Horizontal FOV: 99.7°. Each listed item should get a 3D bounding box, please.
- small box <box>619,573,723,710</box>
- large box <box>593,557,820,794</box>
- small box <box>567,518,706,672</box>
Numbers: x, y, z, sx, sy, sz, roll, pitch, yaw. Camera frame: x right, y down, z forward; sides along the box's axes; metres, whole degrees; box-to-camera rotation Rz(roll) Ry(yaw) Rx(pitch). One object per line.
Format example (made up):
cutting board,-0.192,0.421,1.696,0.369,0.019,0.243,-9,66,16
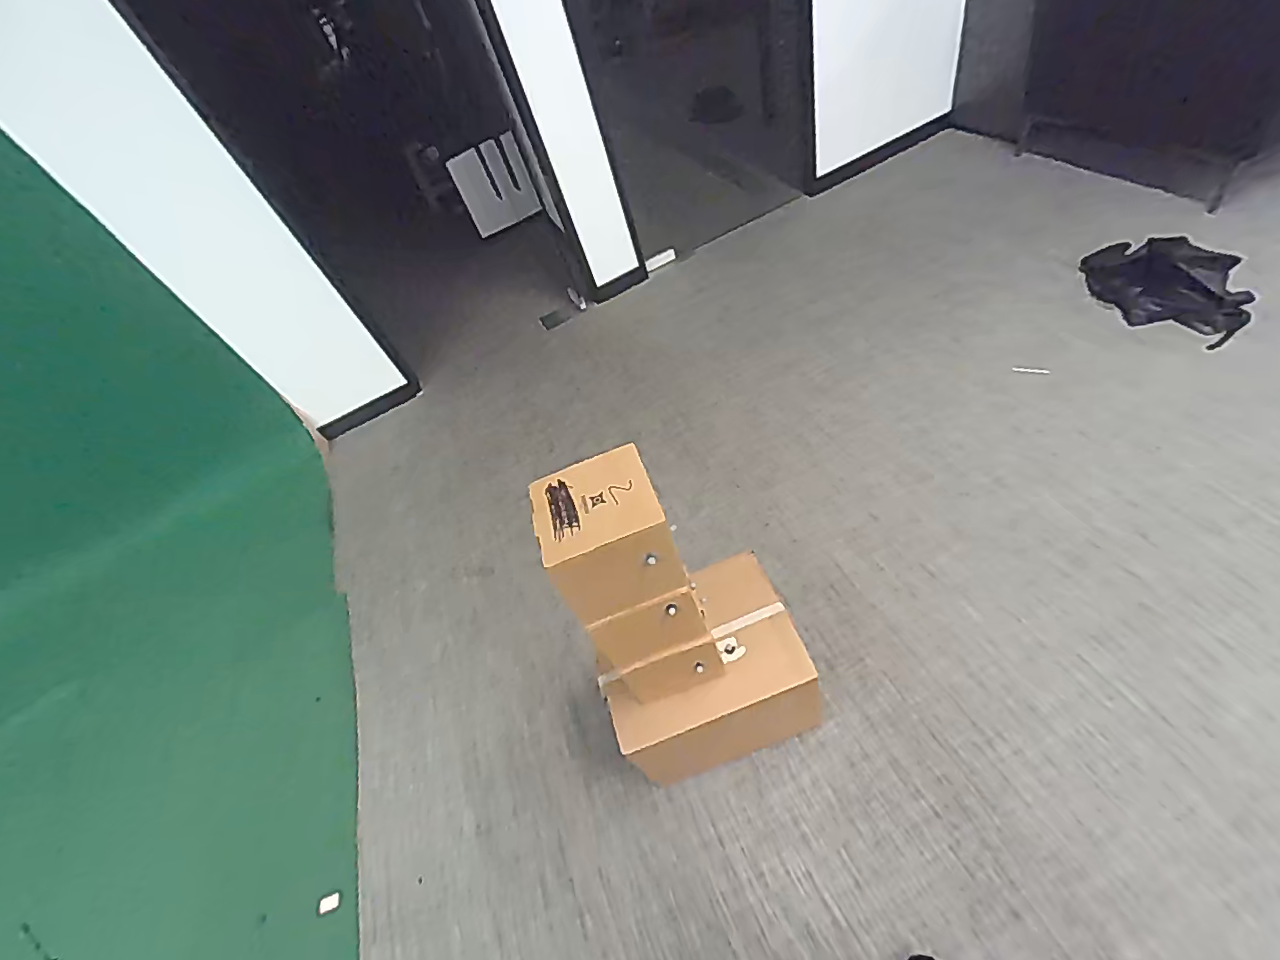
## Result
small box,0.049,0.313,1.038,0.179,0.176,0.168,-23,46,1
large box,0.149,0.444,1.220,0.408,0.320,0.320,-22,48,-1
small box,-0.004,0.203,0.930,0.179,0.176,0.168,-22,46,0
